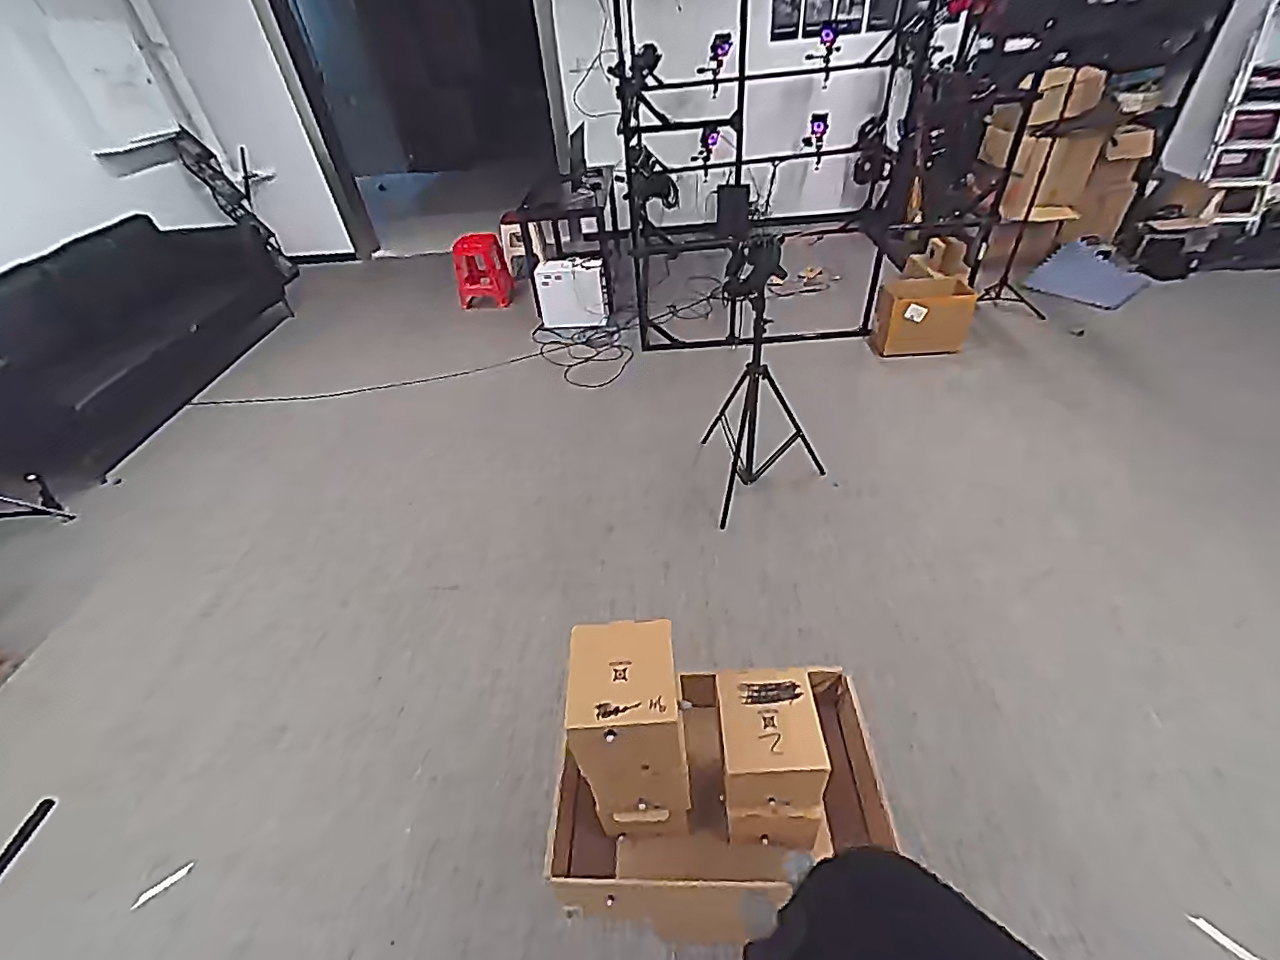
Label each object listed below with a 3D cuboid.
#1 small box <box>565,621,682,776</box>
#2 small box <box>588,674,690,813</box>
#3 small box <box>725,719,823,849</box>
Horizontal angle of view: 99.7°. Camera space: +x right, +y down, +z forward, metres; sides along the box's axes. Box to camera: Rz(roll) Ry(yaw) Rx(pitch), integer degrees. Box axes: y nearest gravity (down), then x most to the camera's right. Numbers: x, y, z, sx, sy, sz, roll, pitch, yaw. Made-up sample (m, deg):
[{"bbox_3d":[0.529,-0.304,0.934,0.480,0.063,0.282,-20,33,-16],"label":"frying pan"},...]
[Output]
[{"bbox_3d":[-0.021,0.354,0.881,0.168,0.176,0.179,-5,39,3],"label":"small box"},{"bbox_3d":[0.002,0.479,0.986,0.168,0.176,0.179,-5,41,3],"label":"small box"},{"bbox_3d":[0.253,0.597,1.067,0.168,0.176,0.179,-3,41,7],"label":"small box"}]
